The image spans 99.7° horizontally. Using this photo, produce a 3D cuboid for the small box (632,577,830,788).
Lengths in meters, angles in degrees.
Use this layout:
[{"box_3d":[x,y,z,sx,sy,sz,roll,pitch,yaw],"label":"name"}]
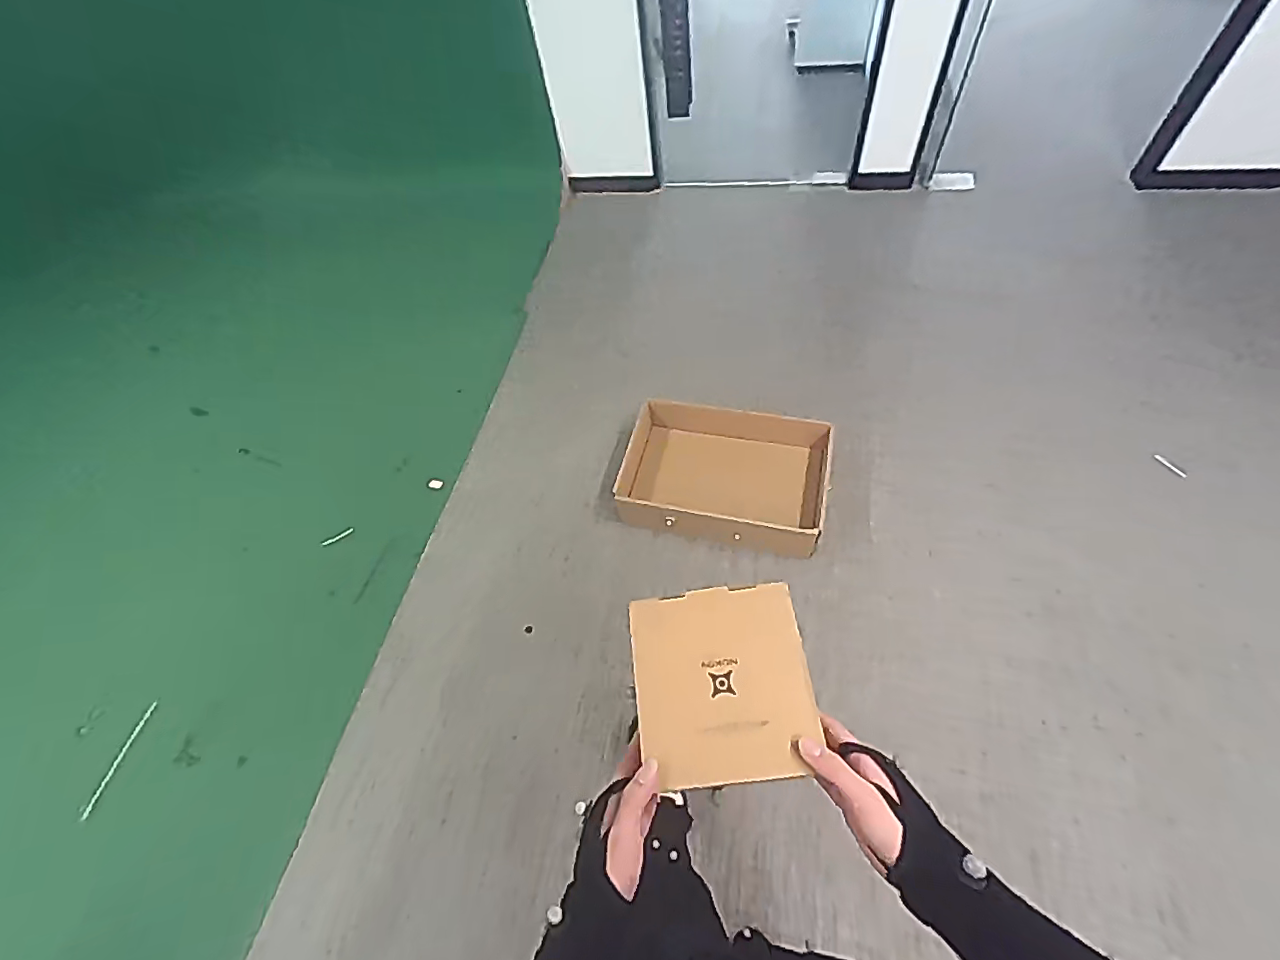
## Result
[{"box_3d":[0.084,0.221,0.576,0.168,0.176,0.179,-7,60,3],"label":"small box"}]
